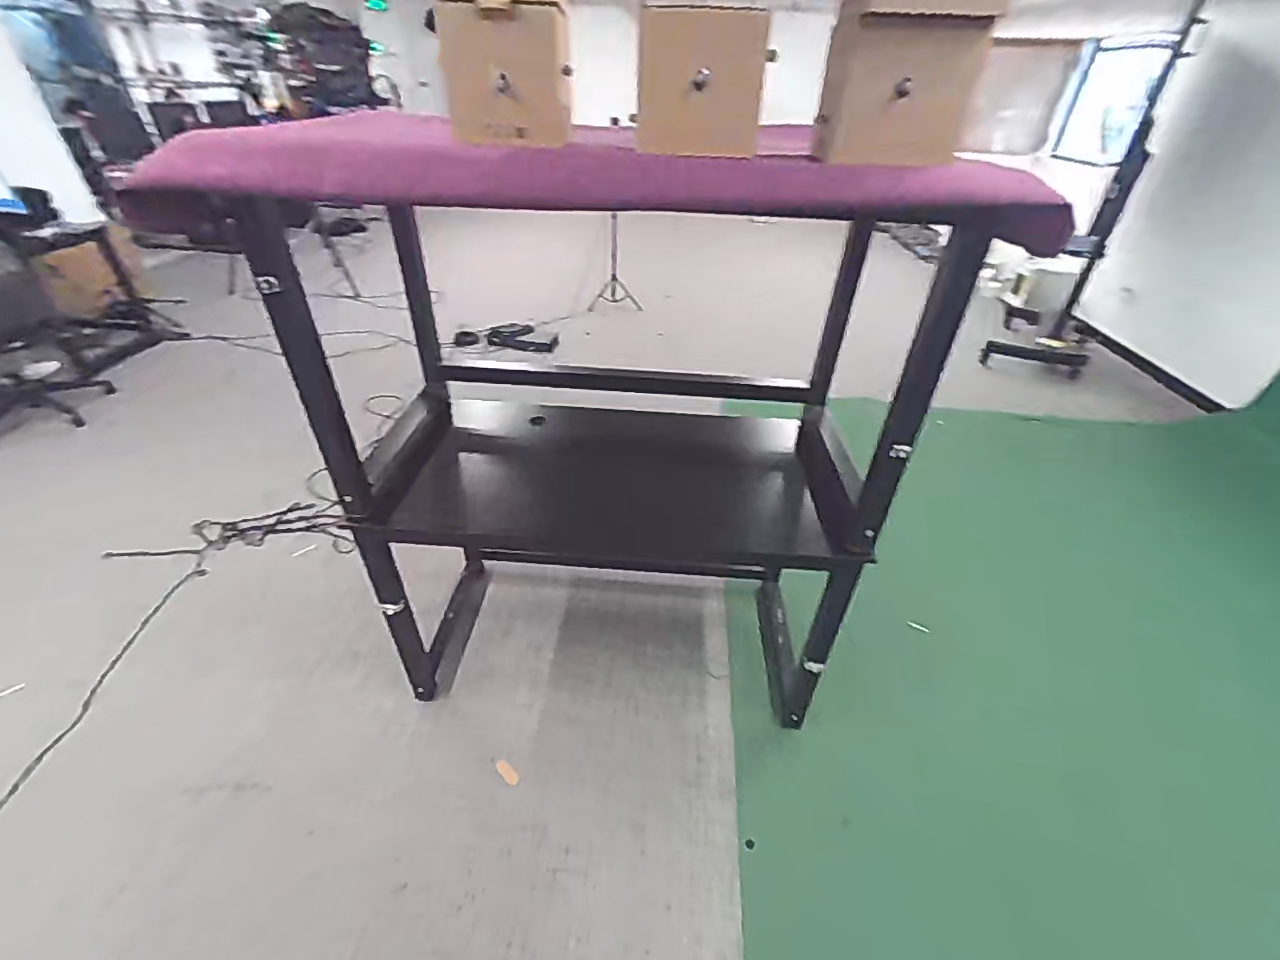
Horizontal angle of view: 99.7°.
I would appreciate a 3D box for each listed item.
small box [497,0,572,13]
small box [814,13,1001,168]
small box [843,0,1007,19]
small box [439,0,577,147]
[{"bbox_3d":[-0.181,-0.749,0.734,0.168,0.176,0.179,0,34,-3],"label":"small box"},{"bbox_3d":[0.370,-0.562,0.787,0.179,0.176,0.168,3,36,4],"label":"small box"},{"bbox_3d":[0.375,-0.681,0.672,0.179,0.176,0.168,3,36,3],"label":"small box"},{"bbox_3d":[-0.188,-0.618,0.832,0.168,0.176,0.179,2,36,-1],"label":"small box"}]
